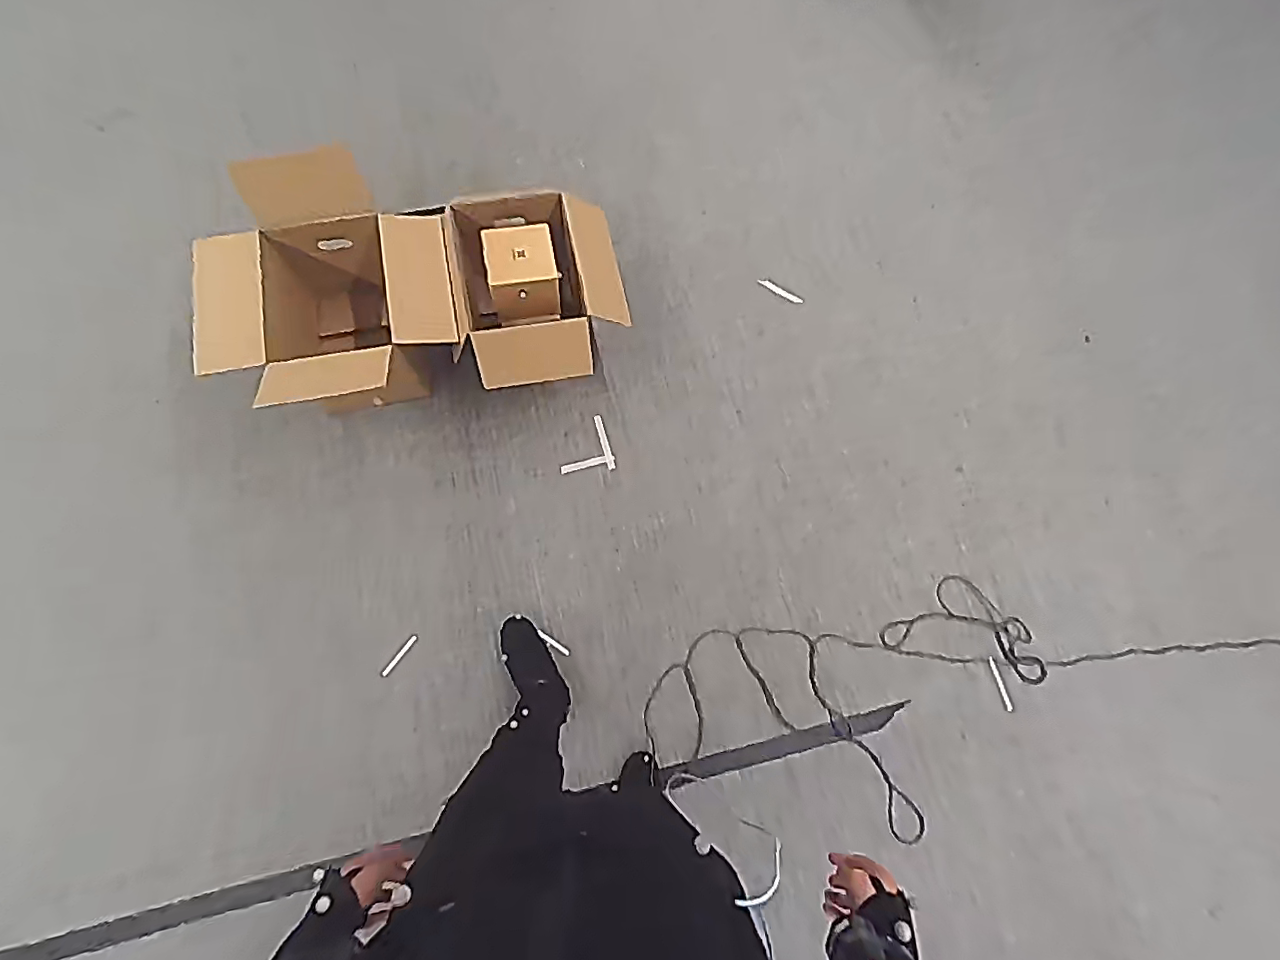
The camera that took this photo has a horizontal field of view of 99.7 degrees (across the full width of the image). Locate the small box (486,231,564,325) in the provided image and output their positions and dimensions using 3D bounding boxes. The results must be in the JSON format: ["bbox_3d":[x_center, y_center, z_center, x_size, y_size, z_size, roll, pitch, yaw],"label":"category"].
[{"bbox_3d":[-0.303,-0.539,1.455,0.179,0.176,0.168,-10,76,-7],"label":"small box"}]
